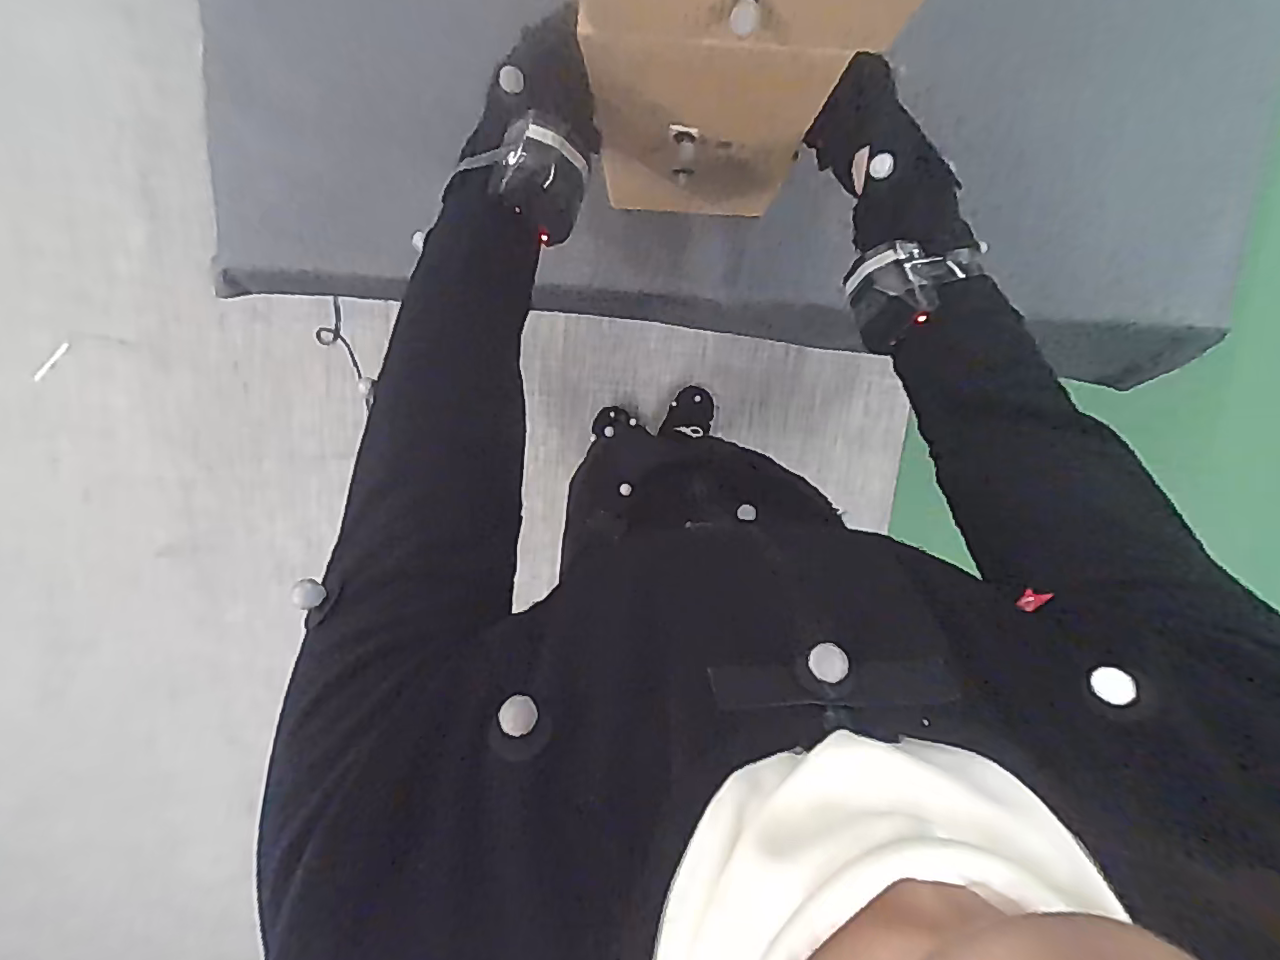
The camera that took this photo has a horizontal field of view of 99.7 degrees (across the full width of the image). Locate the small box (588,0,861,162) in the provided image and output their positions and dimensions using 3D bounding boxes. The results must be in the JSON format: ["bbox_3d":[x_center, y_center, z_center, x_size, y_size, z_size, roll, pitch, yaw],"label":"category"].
[{"bbox_3d":[0.059,-0.359,0.386,0.168,0.176,0.179,5,101,2],"label":"small box"}]

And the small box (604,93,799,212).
[{"bbox_3d":[0.062,-0.384,0.545,0.179,0.176,0.168,3,100,0],"label":"small box"}]
